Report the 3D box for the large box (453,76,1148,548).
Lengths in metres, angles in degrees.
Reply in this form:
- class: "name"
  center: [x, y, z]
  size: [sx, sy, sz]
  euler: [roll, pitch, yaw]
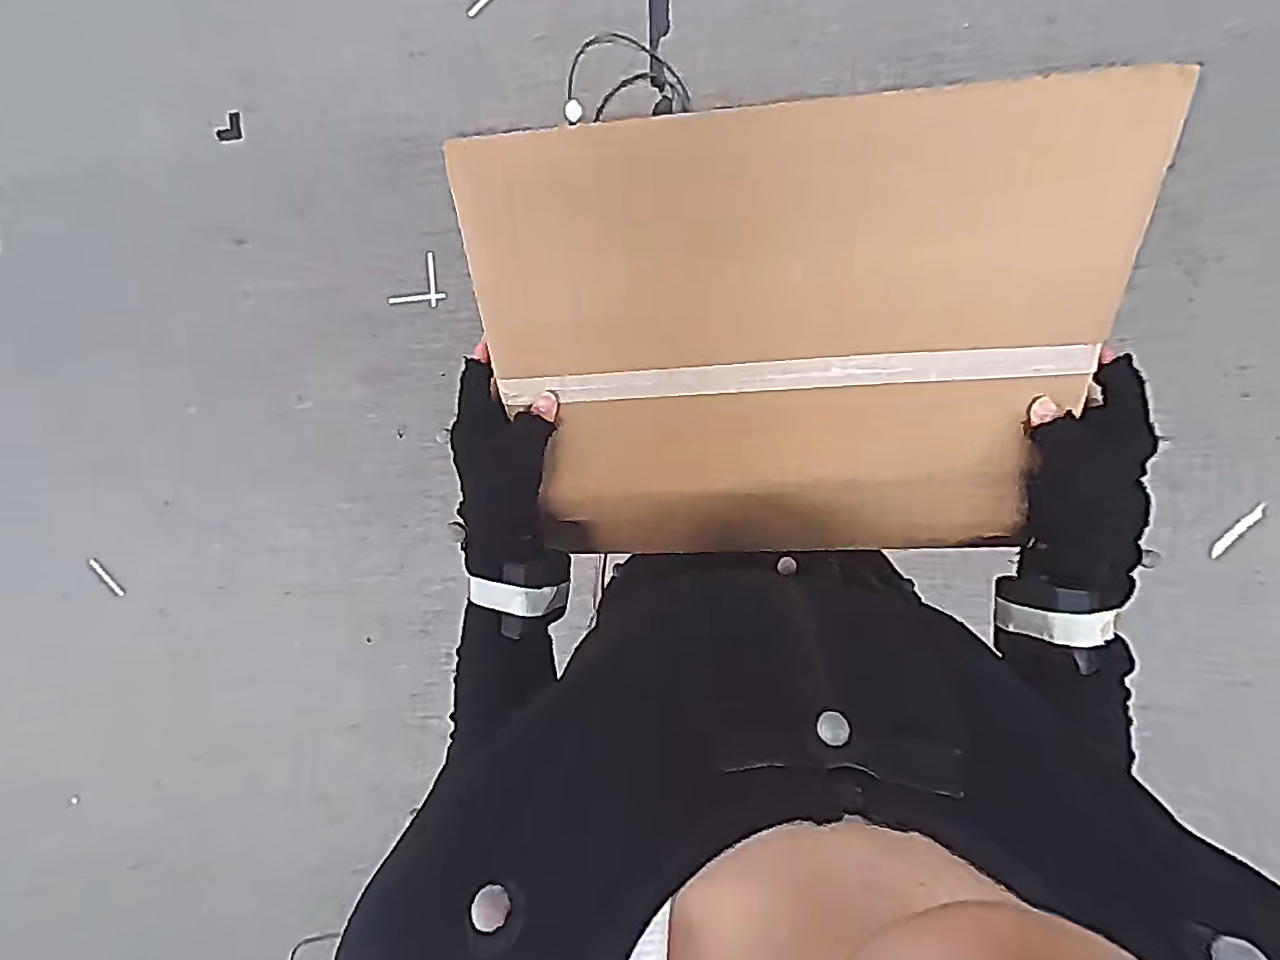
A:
- class: "large box"
  center: [0.102, -0.155, 0.515]
  size: [0.408, 0.320, 0.320]
  euler: [-2, 122, 6]
